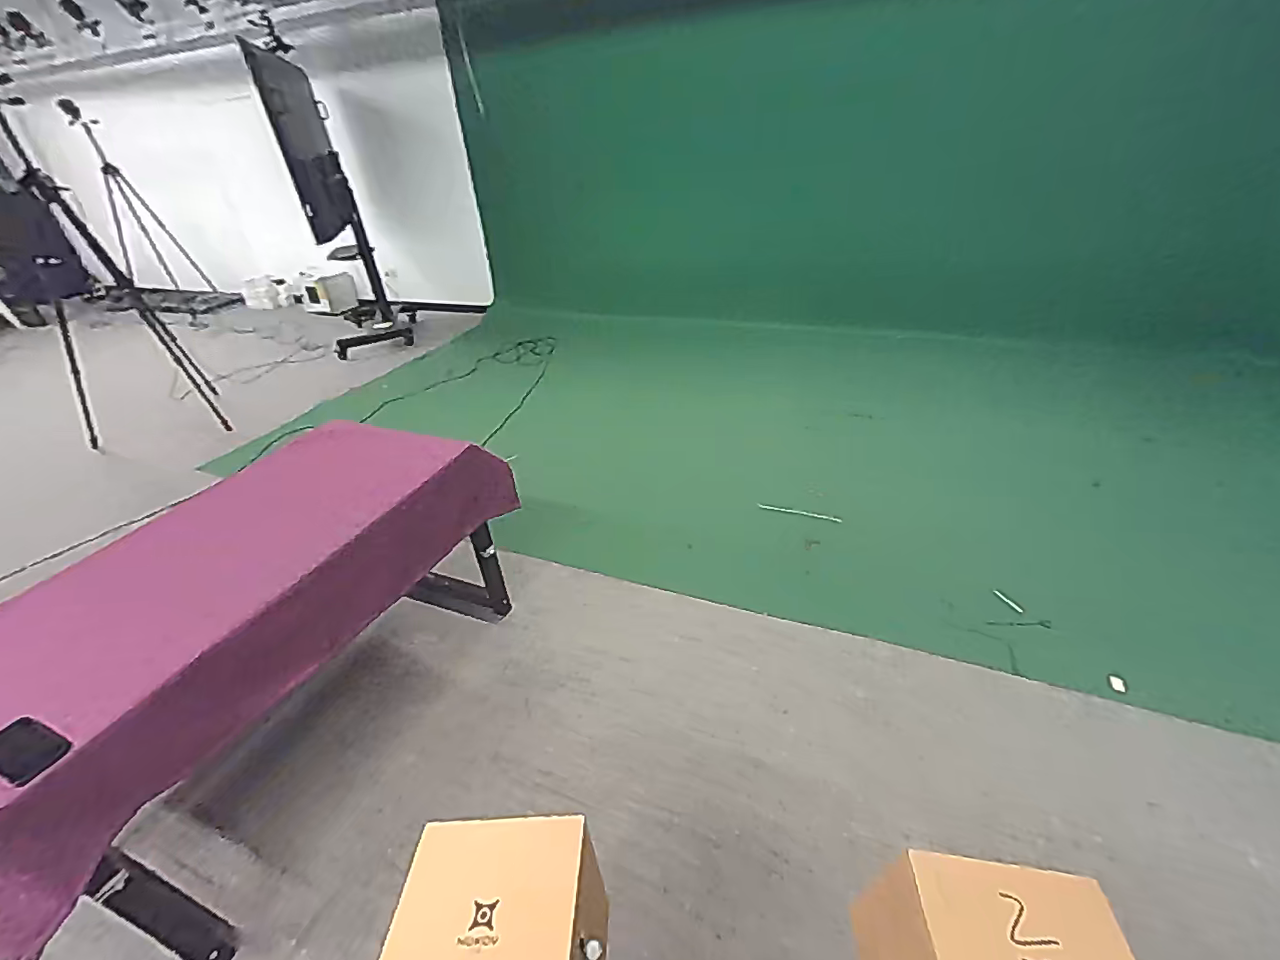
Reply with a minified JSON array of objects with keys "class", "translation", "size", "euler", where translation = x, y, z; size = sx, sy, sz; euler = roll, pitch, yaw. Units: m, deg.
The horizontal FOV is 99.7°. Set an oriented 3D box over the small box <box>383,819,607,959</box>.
[{"class":"small box","translation":[-0.125,0.454,0.505],"size":[0.168,0.176,0.179],"euler":[-5,29,4]}]
